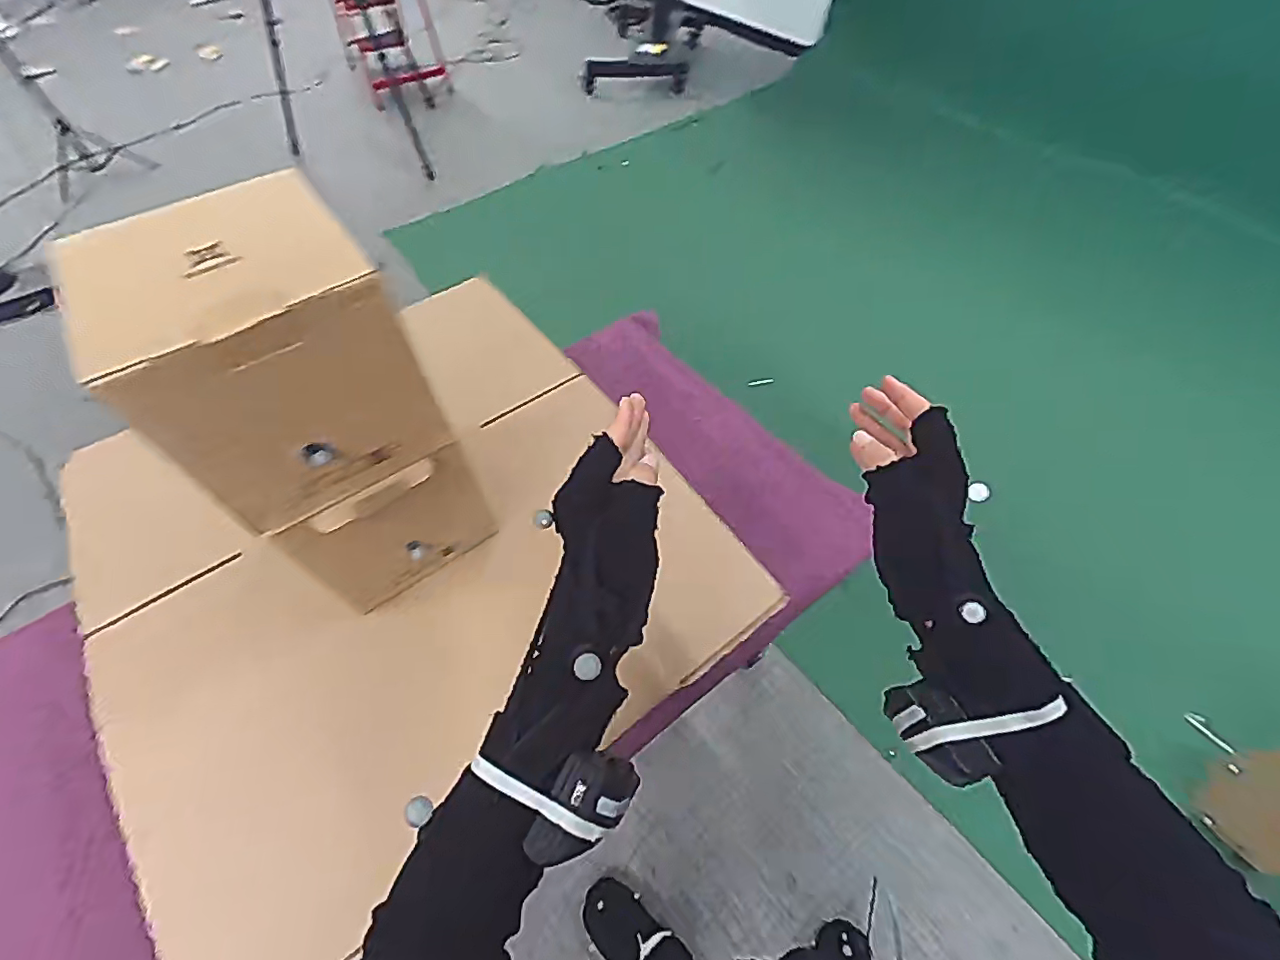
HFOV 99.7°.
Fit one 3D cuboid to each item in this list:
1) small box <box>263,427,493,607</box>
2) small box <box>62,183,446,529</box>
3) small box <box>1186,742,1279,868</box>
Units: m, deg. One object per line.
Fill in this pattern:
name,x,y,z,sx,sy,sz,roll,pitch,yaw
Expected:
small box,-0.279,-0.002,0.561,0.168,0.176,0.179,-33,61,-19
small box,-0.283,-0.095,0.427,0.168,0.176,0.179,-33,61,-20
small box,1.357,0.706,1.168,0.179,0.176,0.168,-32,62,-20
